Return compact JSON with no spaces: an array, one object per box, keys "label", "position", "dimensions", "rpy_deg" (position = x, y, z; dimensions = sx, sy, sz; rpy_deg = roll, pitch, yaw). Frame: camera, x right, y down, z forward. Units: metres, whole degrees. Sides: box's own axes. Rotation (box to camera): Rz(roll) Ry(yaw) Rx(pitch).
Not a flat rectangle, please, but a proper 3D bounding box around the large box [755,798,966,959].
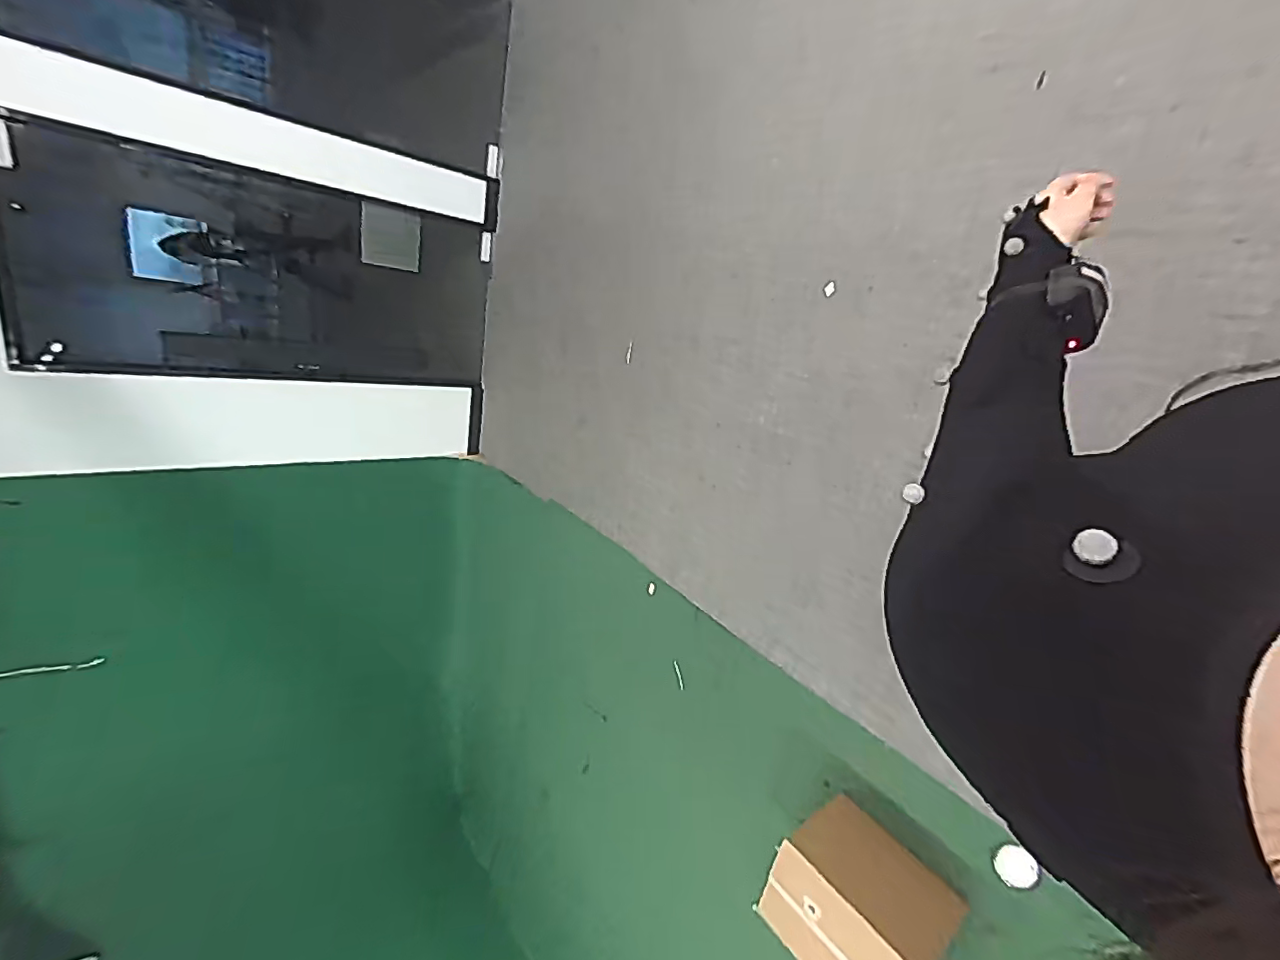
[{"label":"large box","position":[0.607,1.218,1.522],"dimensions":[0.408,0.320,0.320],"rpy_deg":[32,117,45]}]
